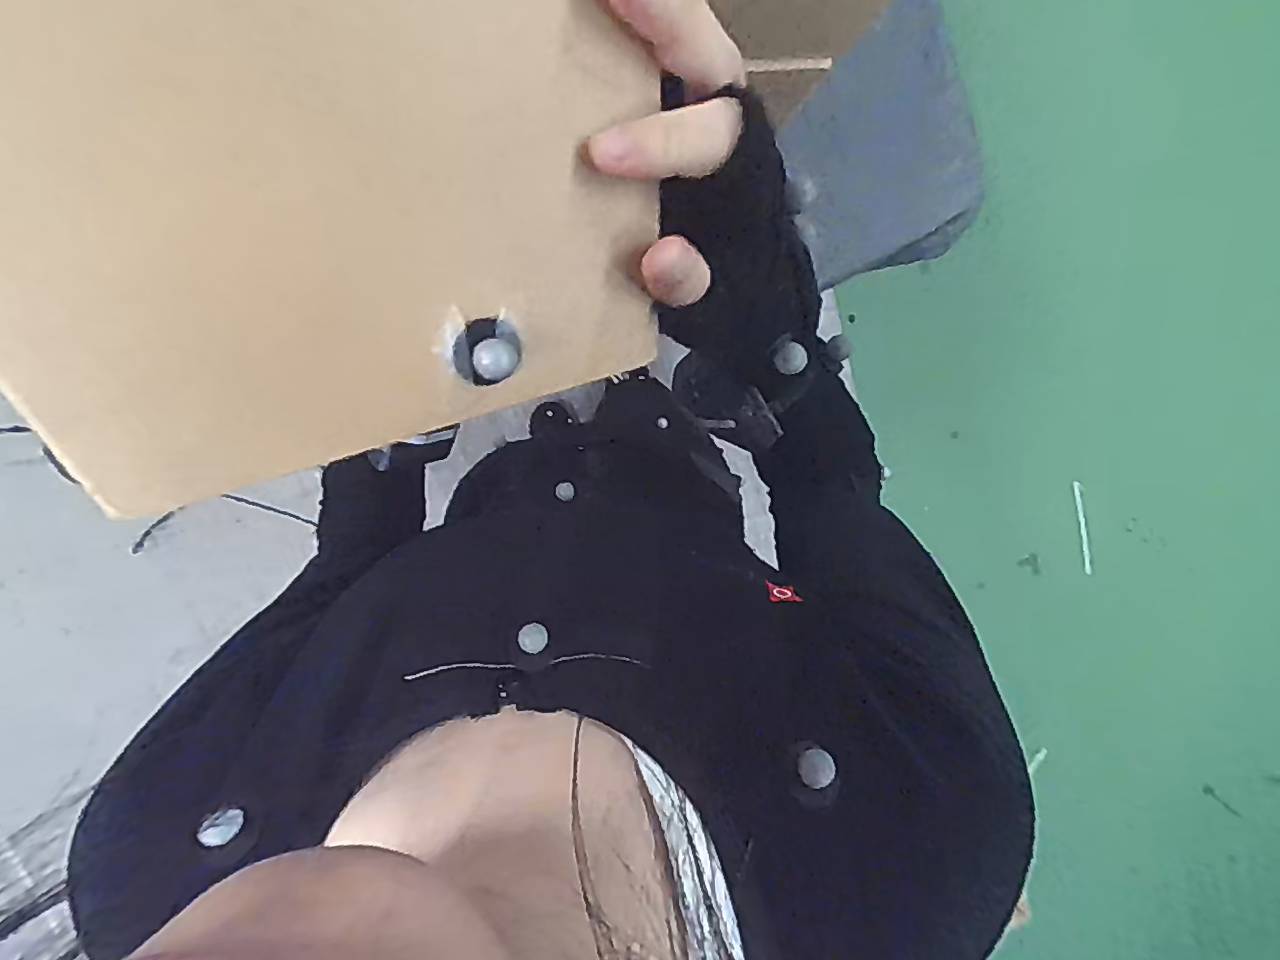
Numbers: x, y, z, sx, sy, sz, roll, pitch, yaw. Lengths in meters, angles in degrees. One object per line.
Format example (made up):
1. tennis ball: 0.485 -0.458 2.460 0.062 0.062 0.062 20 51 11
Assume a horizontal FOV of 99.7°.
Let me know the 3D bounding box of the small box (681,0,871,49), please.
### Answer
1. small box: 0.129 -0.504 0.457 0.179 0.176 0.168 -8 100 -8
